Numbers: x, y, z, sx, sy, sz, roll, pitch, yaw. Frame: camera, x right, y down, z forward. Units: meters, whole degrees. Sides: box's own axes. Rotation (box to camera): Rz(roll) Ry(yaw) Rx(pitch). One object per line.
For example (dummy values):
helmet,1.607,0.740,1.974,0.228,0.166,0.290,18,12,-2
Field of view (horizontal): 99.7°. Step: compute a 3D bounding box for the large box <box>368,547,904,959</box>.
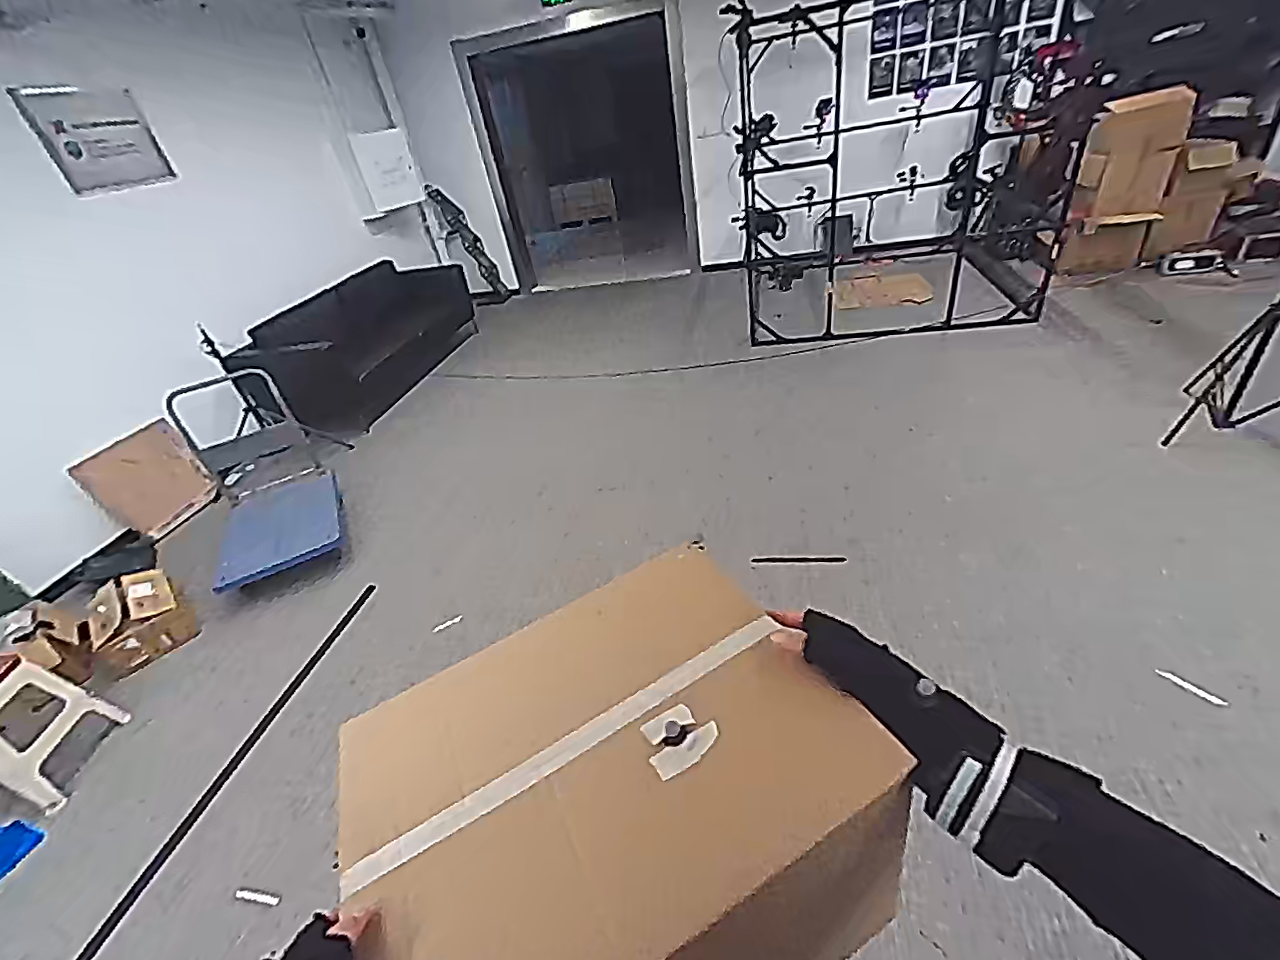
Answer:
large box,-0.003,0.344,0.555,0.408,0.320,0.320,-25,35,-15
